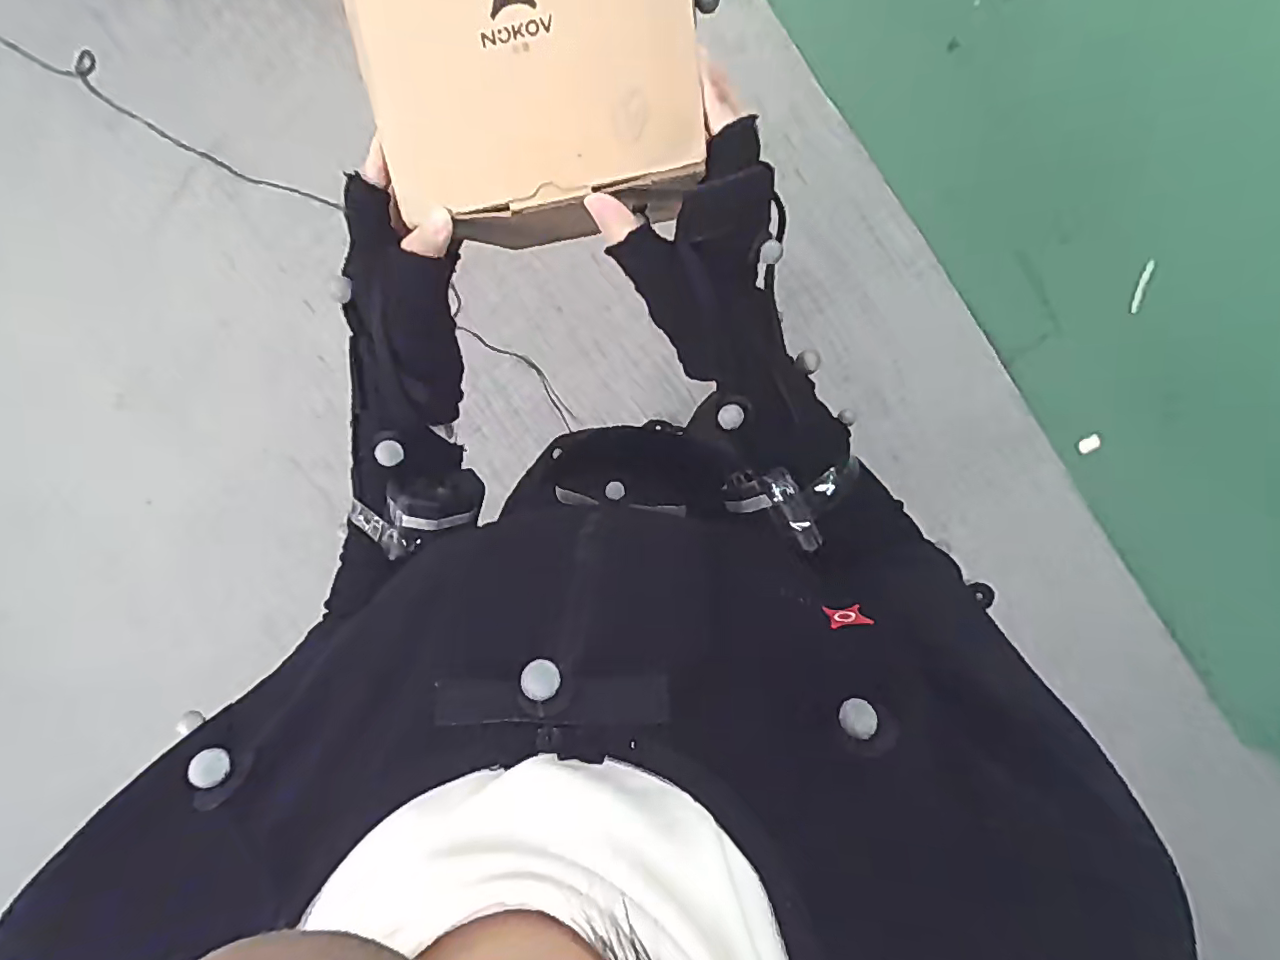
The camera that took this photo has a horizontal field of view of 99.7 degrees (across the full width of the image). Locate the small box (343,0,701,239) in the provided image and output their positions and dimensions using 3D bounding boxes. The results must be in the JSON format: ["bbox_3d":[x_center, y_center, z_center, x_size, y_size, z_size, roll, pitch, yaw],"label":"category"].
[{"bbox_3d":[-0.054,-0.258,0.335,0.168,0.176,0.179,-7,107,10],"label":"small box"}]
